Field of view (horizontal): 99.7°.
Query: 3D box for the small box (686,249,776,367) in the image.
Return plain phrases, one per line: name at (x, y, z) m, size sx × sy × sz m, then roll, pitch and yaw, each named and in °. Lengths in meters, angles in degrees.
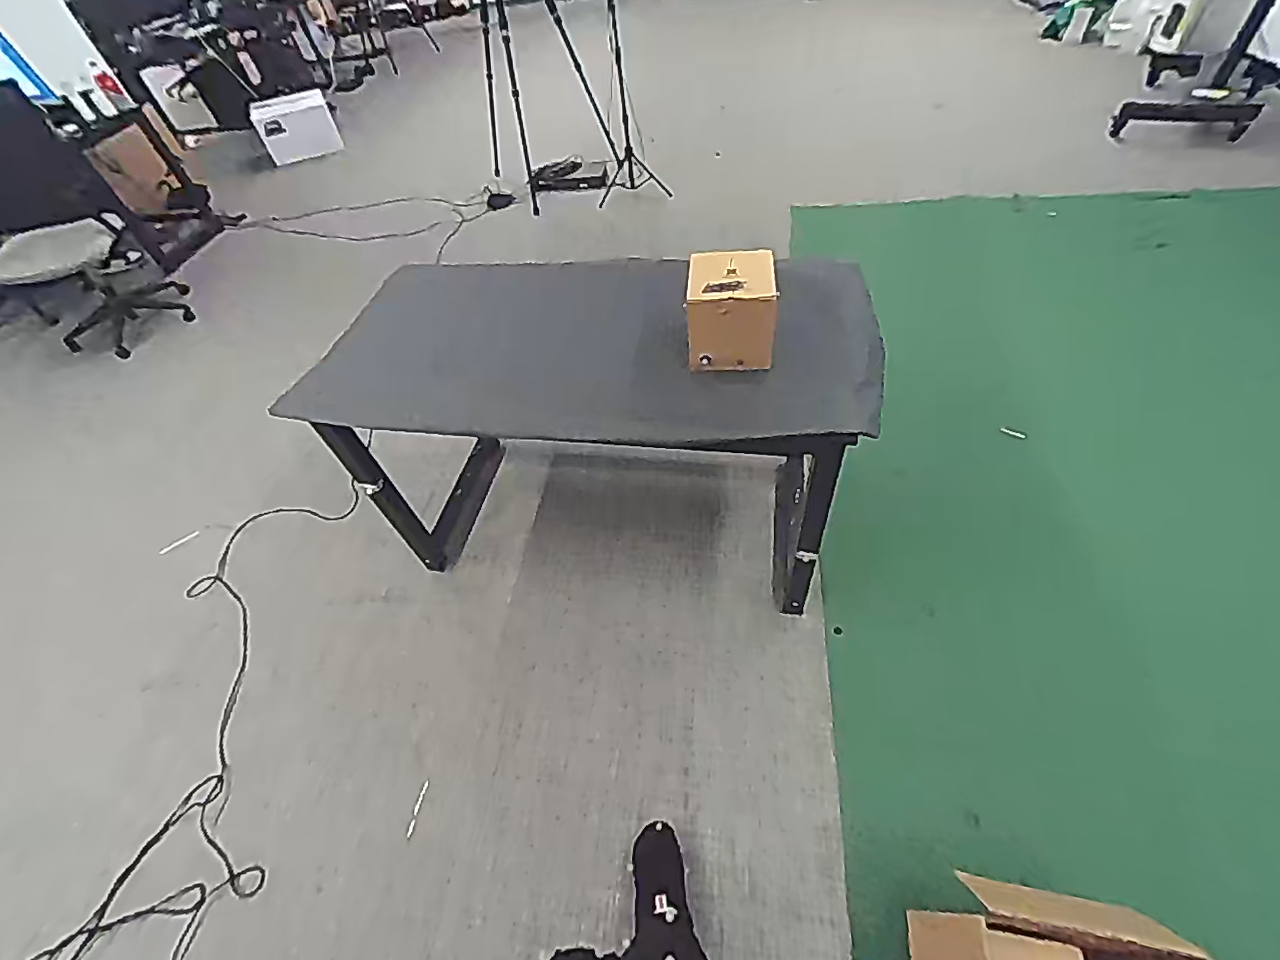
small box at (0.186, -0.343, 1.098) m, size 0.168 × 0.176 × 0.179 m, roll 1°, pitch 50°, yaw 9°
